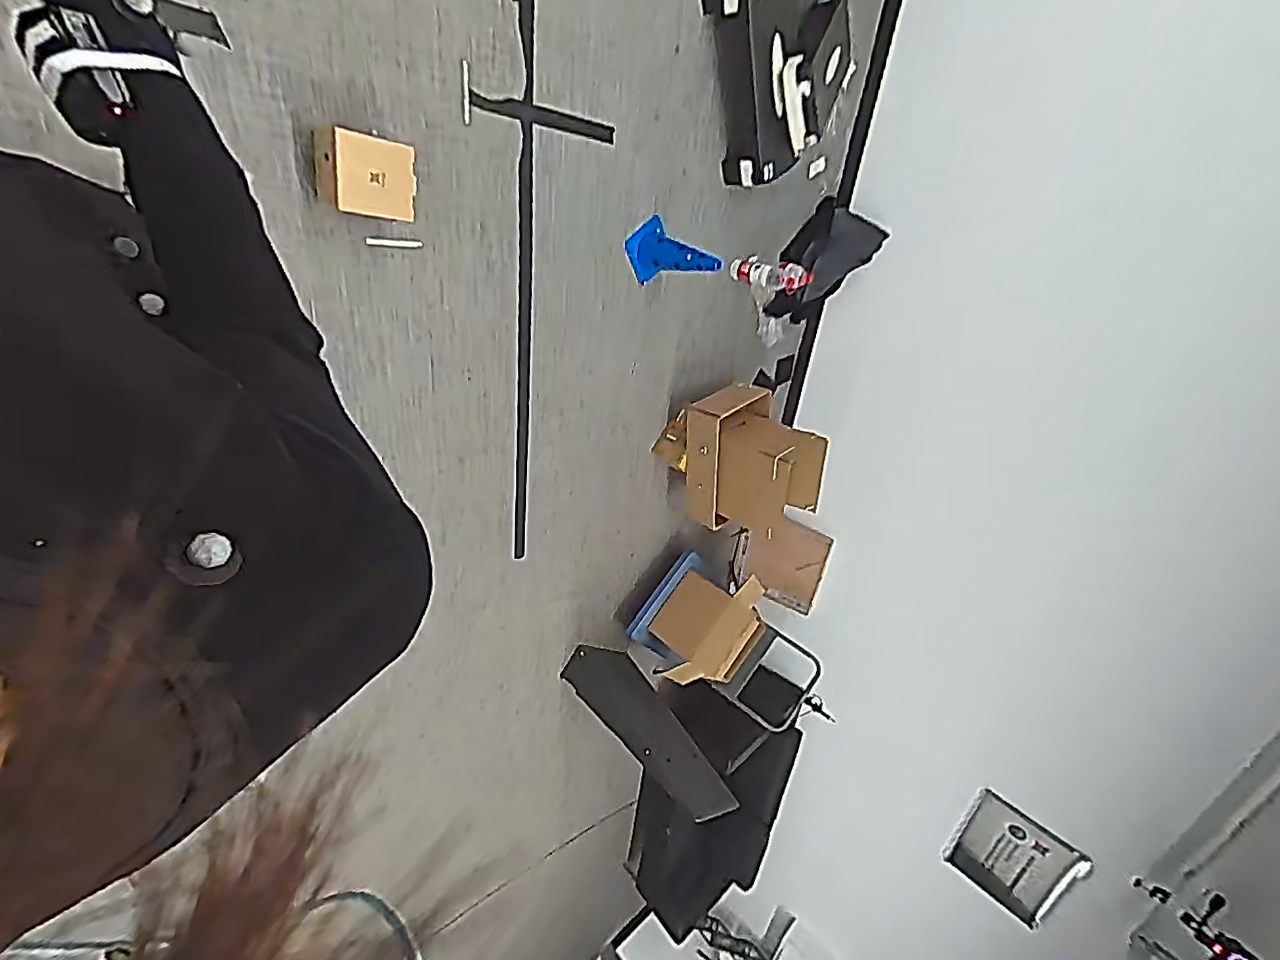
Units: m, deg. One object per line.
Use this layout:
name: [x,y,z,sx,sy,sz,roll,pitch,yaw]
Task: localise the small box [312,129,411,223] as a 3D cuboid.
small box: [-0.676,-0.731,1.308,0.179,0.176,0.168,-14,123,-44]
